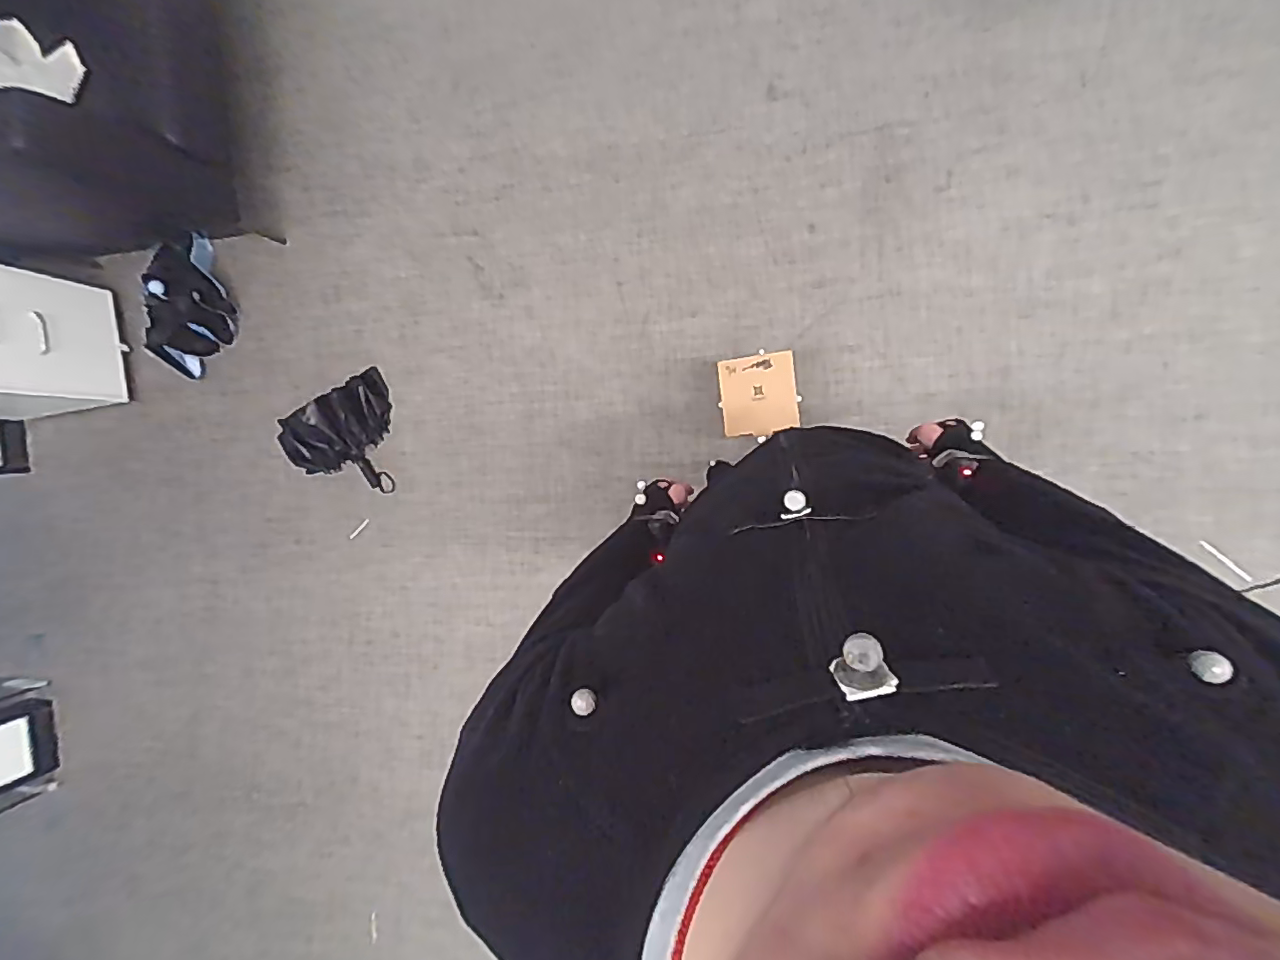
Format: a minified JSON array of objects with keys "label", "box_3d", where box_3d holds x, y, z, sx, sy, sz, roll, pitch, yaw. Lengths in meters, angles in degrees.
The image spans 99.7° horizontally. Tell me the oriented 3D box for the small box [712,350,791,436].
[{"label":"small box","box_3d":[0.268,-0.201,1.291,0.168,0.176,0.179,-6,93,13]}]
